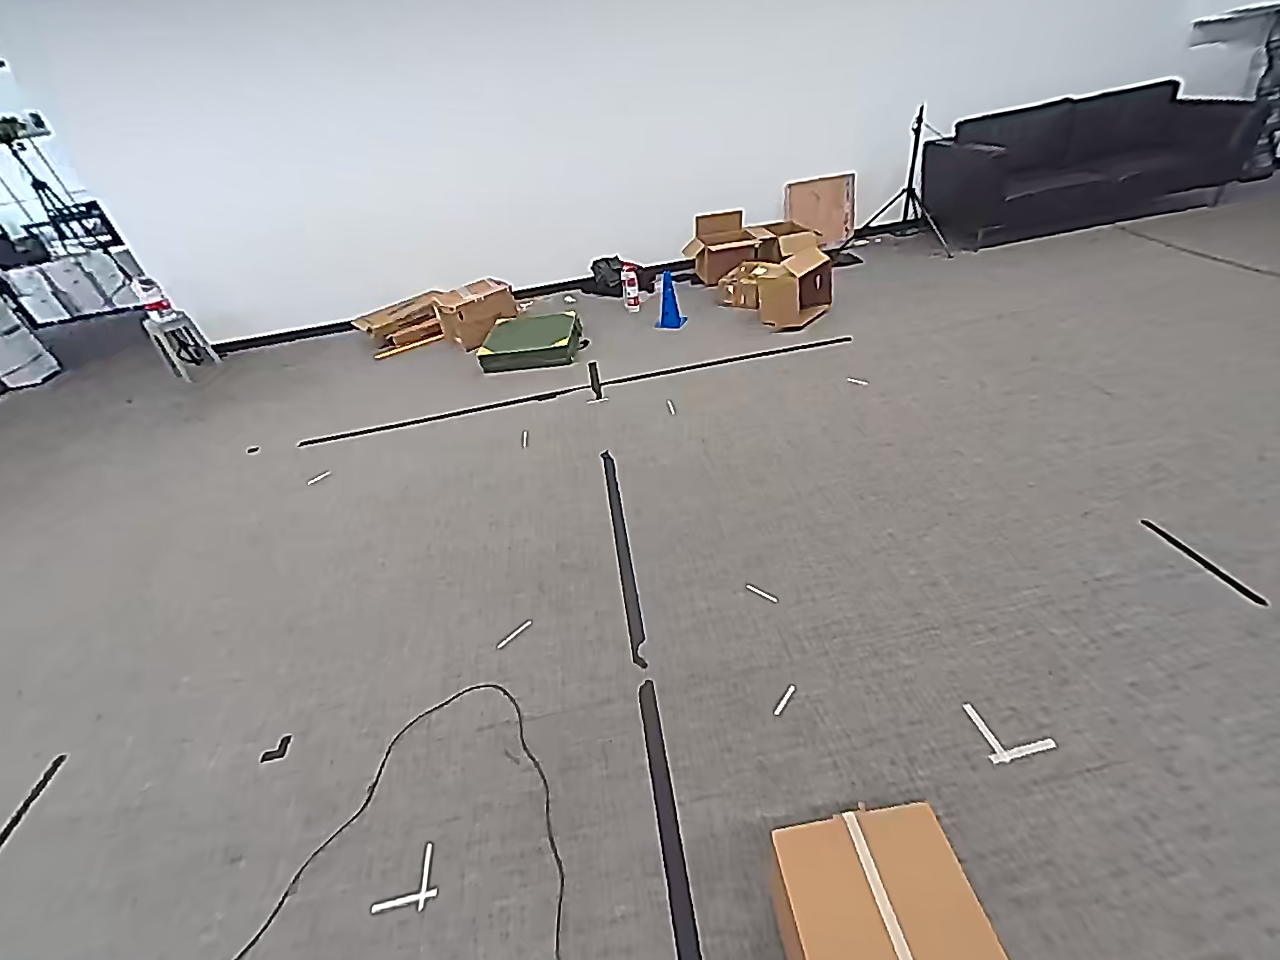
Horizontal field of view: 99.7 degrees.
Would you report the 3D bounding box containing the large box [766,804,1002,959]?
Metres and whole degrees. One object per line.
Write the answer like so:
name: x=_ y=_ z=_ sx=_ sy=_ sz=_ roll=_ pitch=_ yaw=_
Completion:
large box: x=0.440 y=0.885 z=0.979 sx=0.320 sy=0.320 sz=0.408 roll=-10 pitch=38 yaw=-1
